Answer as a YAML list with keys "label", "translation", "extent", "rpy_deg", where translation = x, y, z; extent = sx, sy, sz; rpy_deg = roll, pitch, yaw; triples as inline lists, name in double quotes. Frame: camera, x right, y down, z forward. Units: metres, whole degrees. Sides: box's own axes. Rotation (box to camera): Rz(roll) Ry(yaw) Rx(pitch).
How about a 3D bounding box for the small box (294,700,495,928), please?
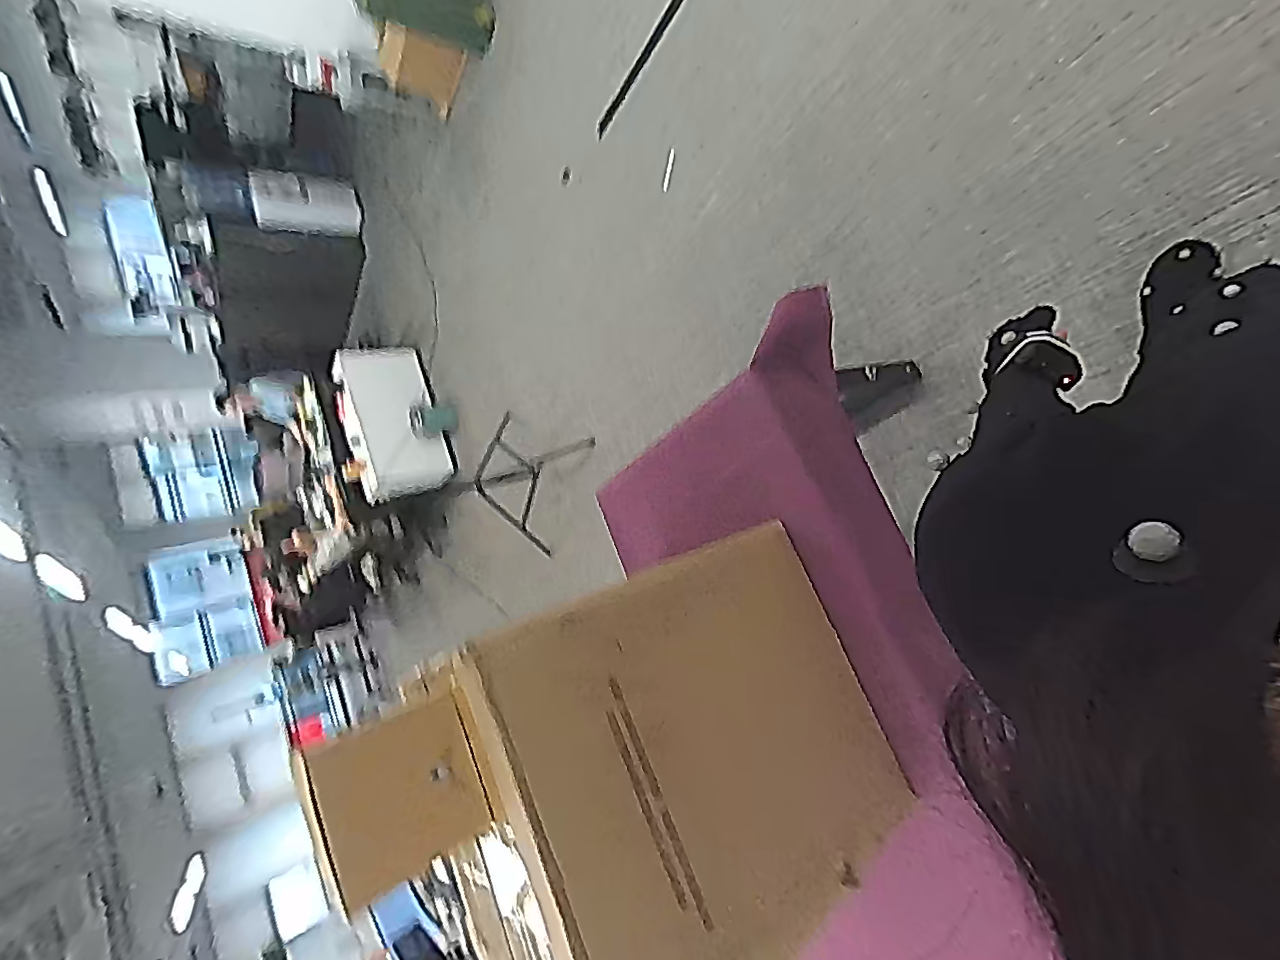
- label: "small box"
  translation: [-0.305, 0.388, 0.667]
  extent: [0.168, 0.176, 0.179]
  rpy_deg: [-36, 73, 48]
